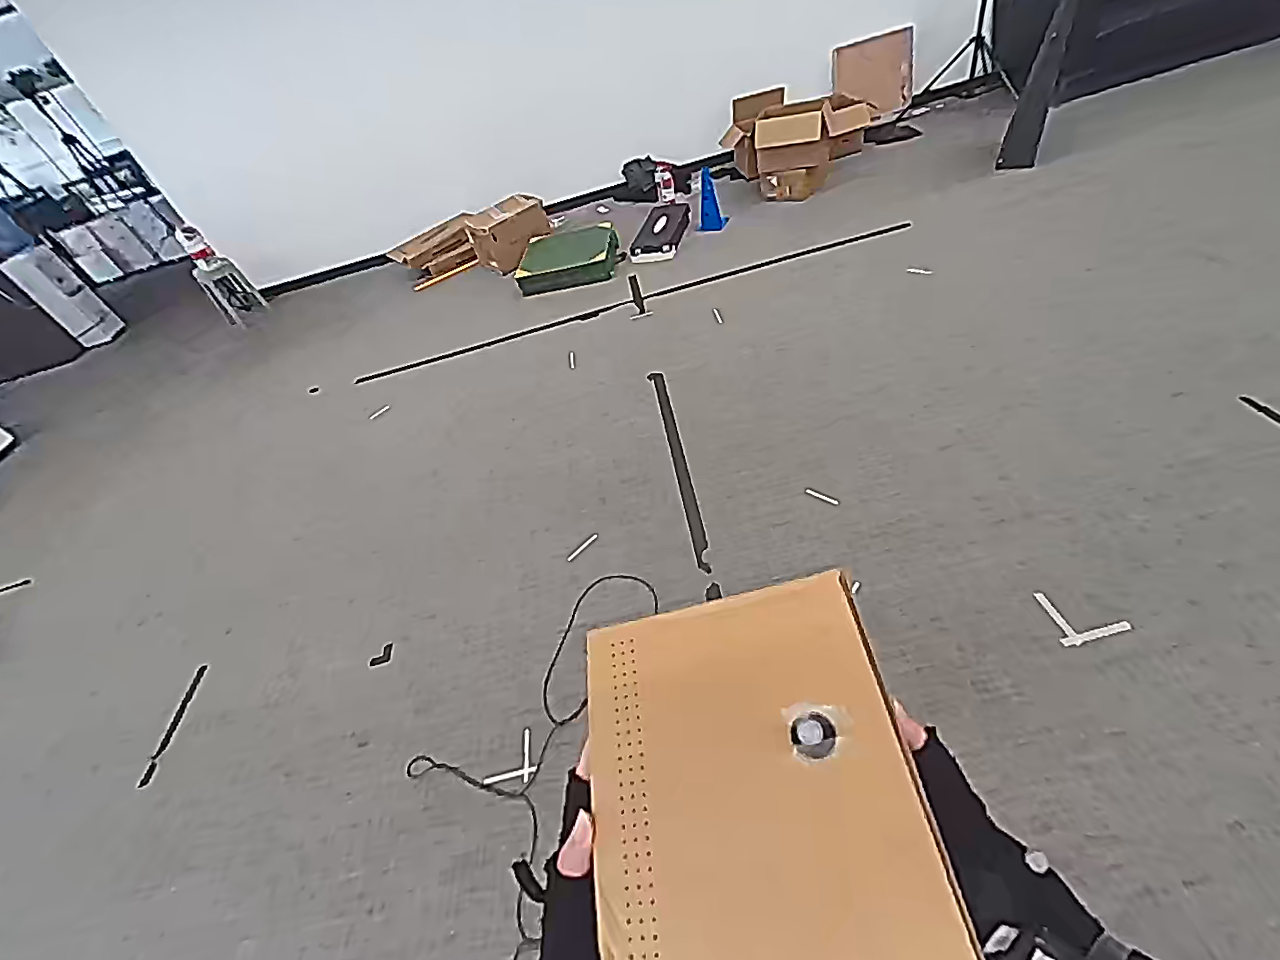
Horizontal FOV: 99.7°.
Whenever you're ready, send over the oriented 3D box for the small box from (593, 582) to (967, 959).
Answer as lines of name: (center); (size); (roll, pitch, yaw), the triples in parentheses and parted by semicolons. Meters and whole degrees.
small box: (0.077, 0.194, 0.346); (0.176, 0.168, 0.179); (-19, 51, 16)
